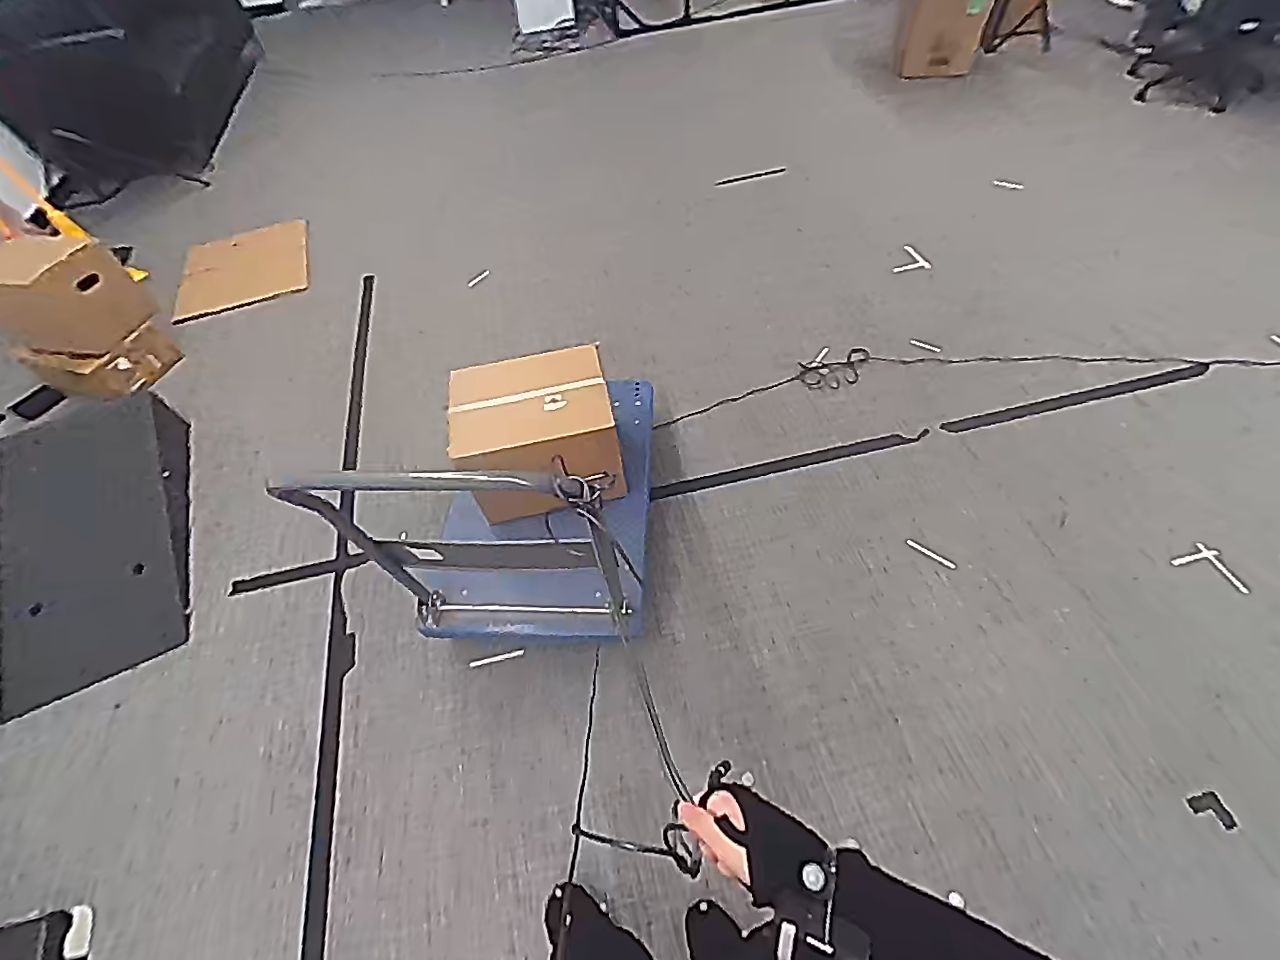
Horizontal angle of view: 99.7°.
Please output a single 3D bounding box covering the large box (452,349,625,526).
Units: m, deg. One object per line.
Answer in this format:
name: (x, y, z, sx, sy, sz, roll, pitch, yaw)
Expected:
large box: (-0.274, -0.113, 1.500, 0.408, 0.320, 0.320, -12, 55, -4)
